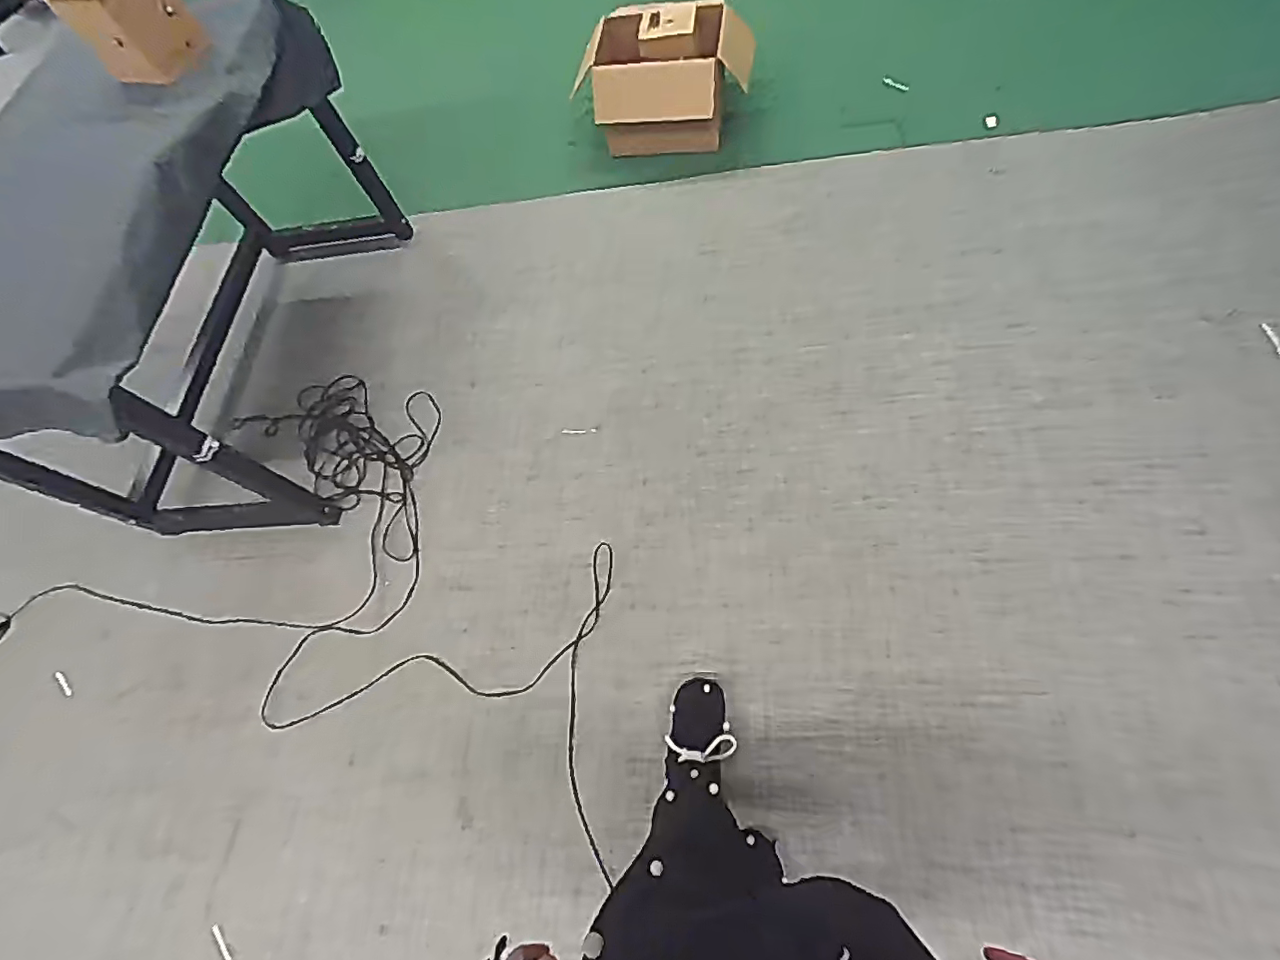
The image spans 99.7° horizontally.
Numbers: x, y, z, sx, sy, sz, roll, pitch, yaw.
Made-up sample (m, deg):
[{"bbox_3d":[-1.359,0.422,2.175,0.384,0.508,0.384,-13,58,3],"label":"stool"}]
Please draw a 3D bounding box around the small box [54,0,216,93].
[{"bbox_3d":[-1.128,-1.011,1.224,0.179,0.176,0.168,13,67,17],"label":"small box"}]
